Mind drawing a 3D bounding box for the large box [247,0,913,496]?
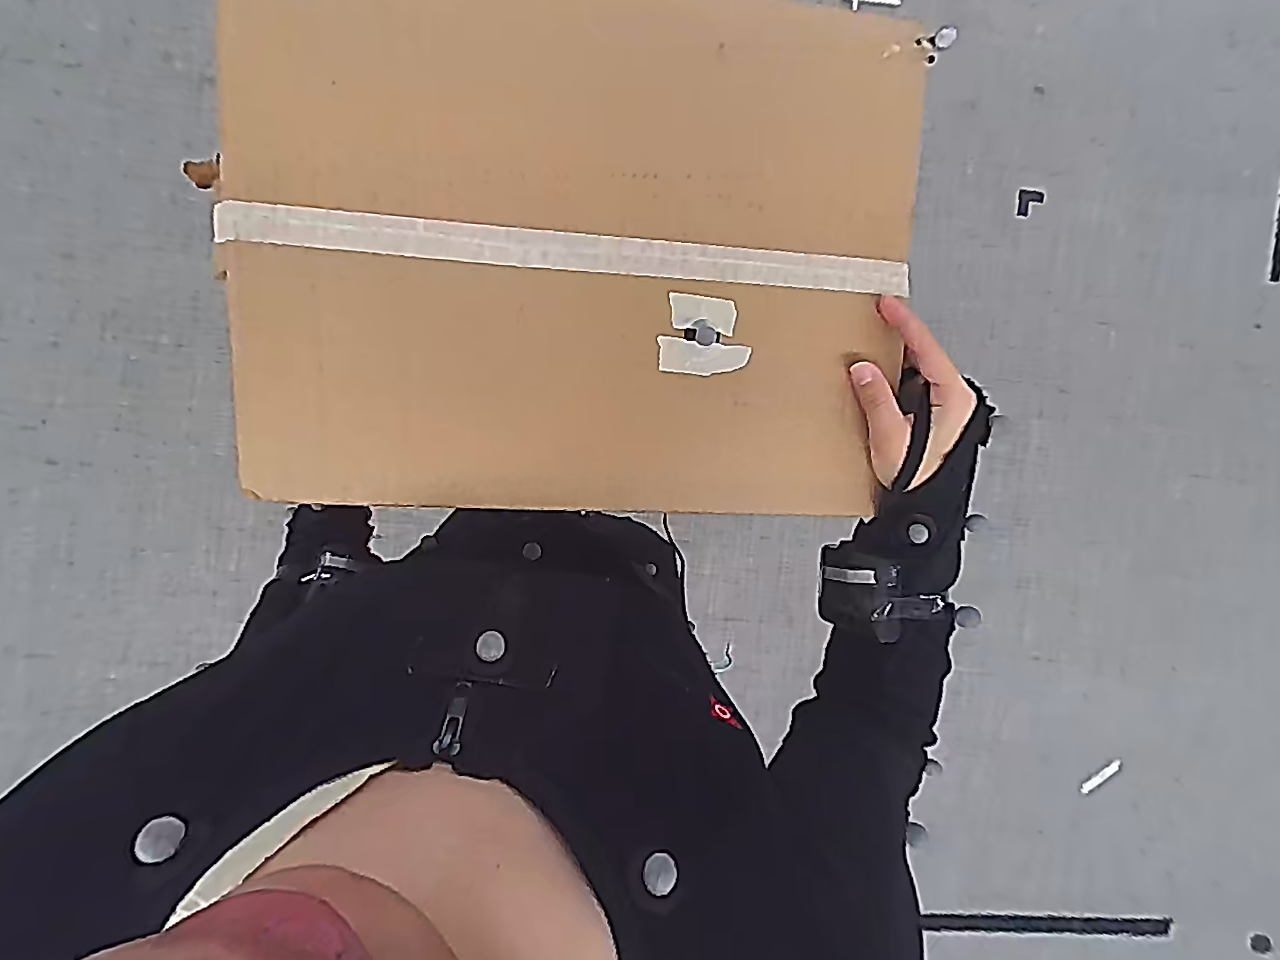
[{"bbox_3d":[-0.046,-0.161,0.483,0.408,0.320,0.320,1,98,-9],"label":"large box"}]
